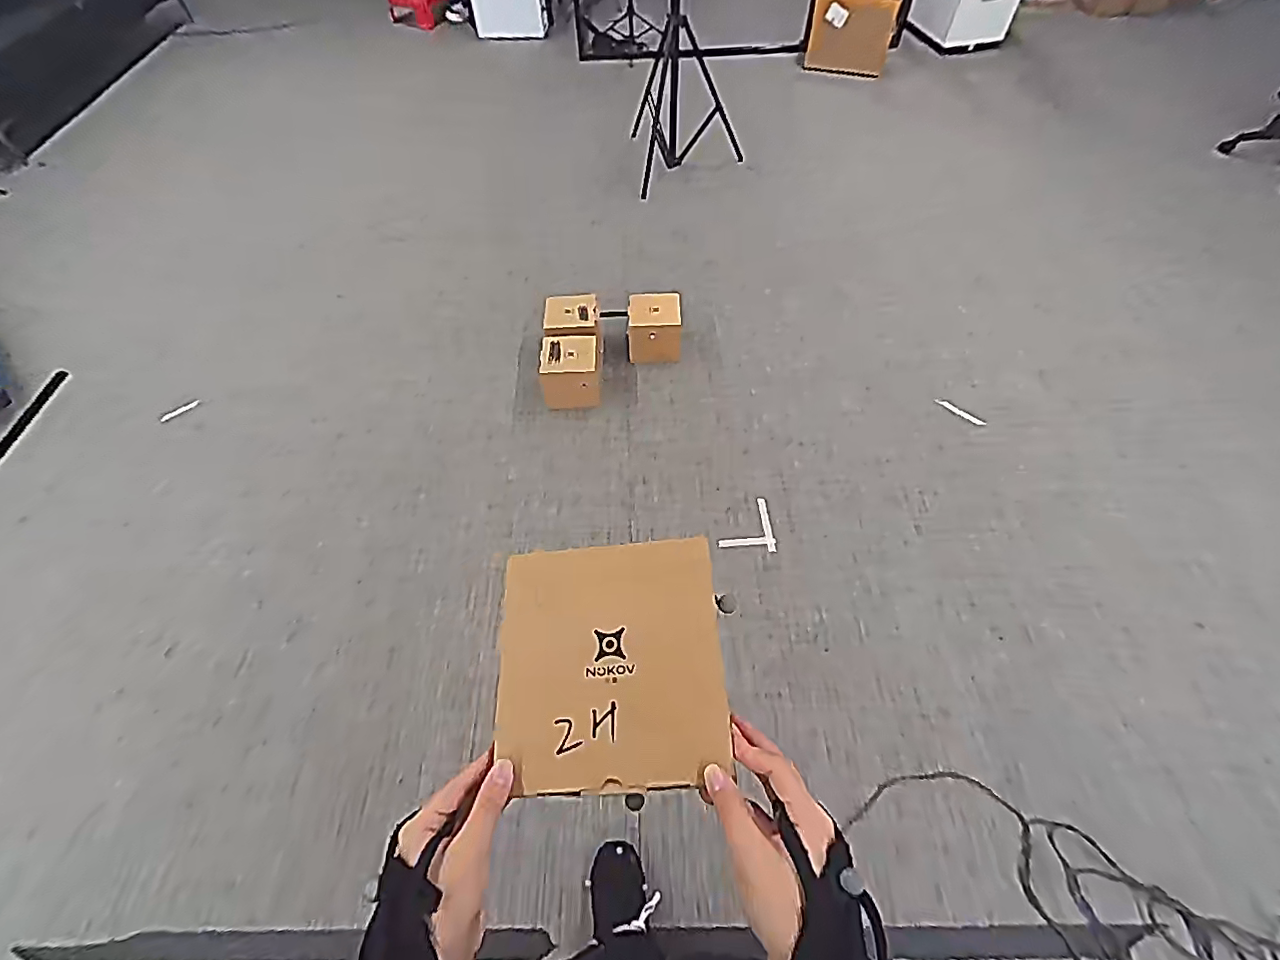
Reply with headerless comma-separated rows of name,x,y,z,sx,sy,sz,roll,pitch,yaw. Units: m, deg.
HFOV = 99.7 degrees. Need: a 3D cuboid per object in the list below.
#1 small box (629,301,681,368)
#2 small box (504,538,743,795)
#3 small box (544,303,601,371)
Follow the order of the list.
small box,0.052,-0.510,1.905,0.179,0.176,0.168,-1,56,2
small box,-0.007,0.170,0.474,0.168,0.176,0.179,-8,60,5
small box,-0.232,-0.501,1.907,0.179,0.176,0.168,-3,56,1
